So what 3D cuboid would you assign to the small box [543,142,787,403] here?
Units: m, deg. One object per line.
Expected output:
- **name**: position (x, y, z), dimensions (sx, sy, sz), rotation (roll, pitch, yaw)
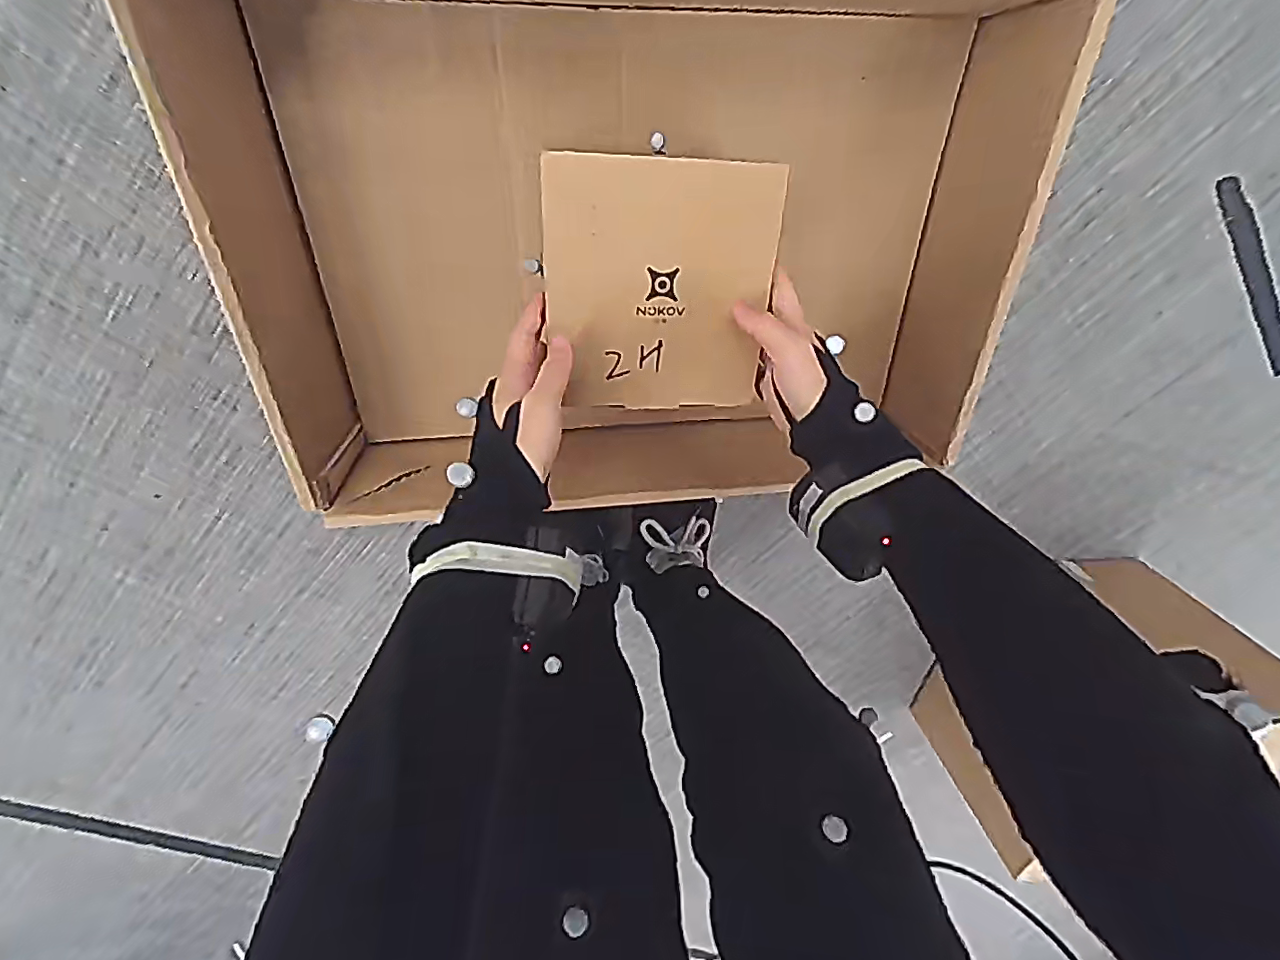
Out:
- **small box**: position (0.003, -0.178, 0.459), dimensions (0.168, 0.176, 0.179), rotation (-1, 122, -8)
